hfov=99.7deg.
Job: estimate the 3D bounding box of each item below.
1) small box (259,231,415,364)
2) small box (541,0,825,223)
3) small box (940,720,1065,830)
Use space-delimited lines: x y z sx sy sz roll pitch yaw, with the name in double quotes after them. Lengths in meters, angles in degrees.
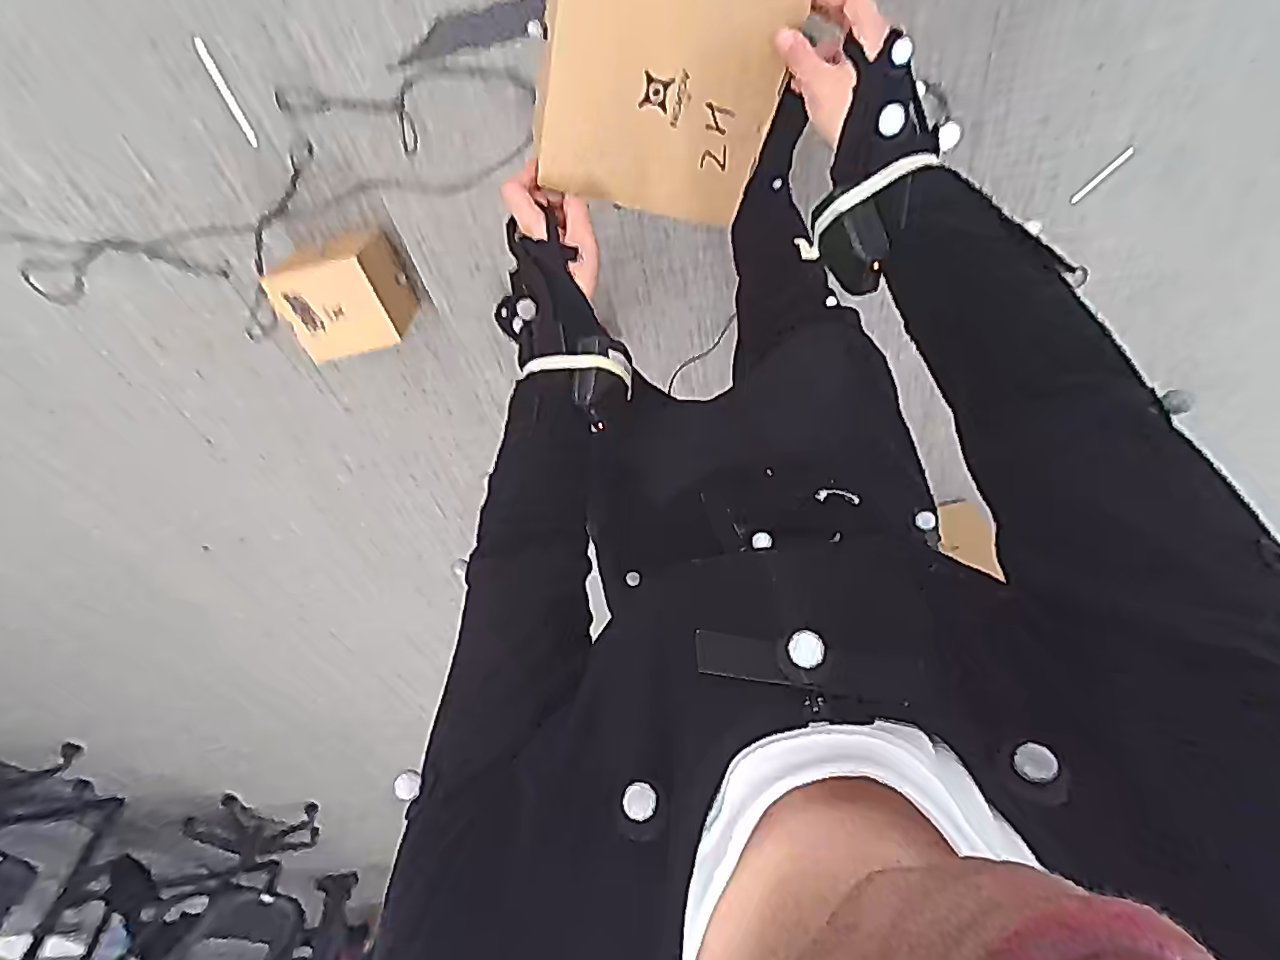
-0.557 -0.347 1.022 0.179 0.176 0.168 -13 132 3 "small box"
0.015 -0.348 0.454 0.179 0.176 0.168 5 135 -18 "small box"
0.850 0.702 1.292 0.179 0.176 0.168 -14 131 4 "small box"
